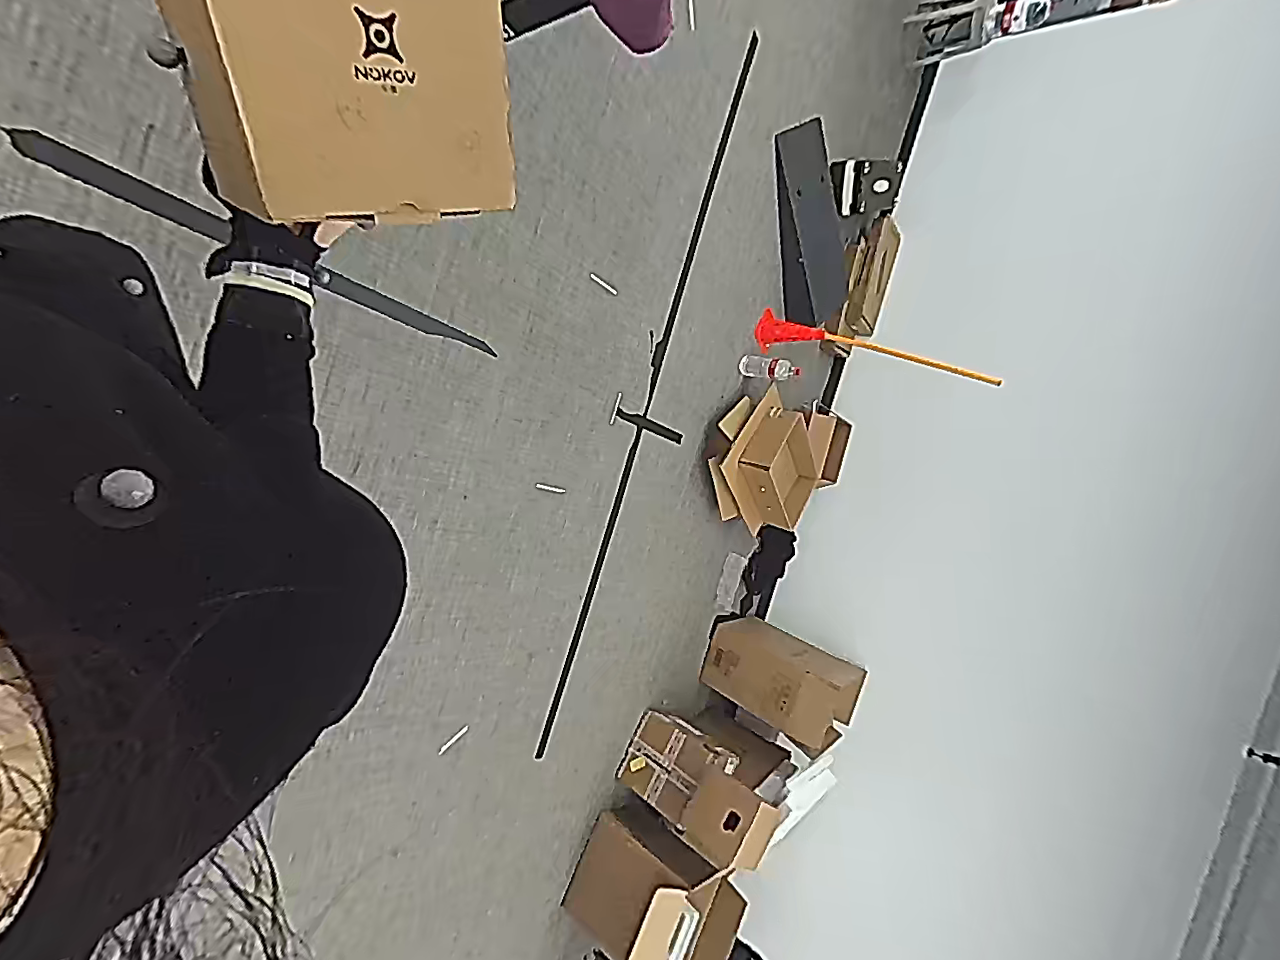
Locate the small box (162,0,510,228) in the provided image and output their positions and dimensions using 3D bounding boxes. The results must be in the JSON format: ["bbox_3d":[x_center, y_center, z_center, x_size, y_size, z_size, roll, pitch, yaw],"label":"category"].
[{"bbox_3d":[-0.209,-0.286,0.377,0.168,0.176,0.179,-24,131,-36],"label":"small box"}]
